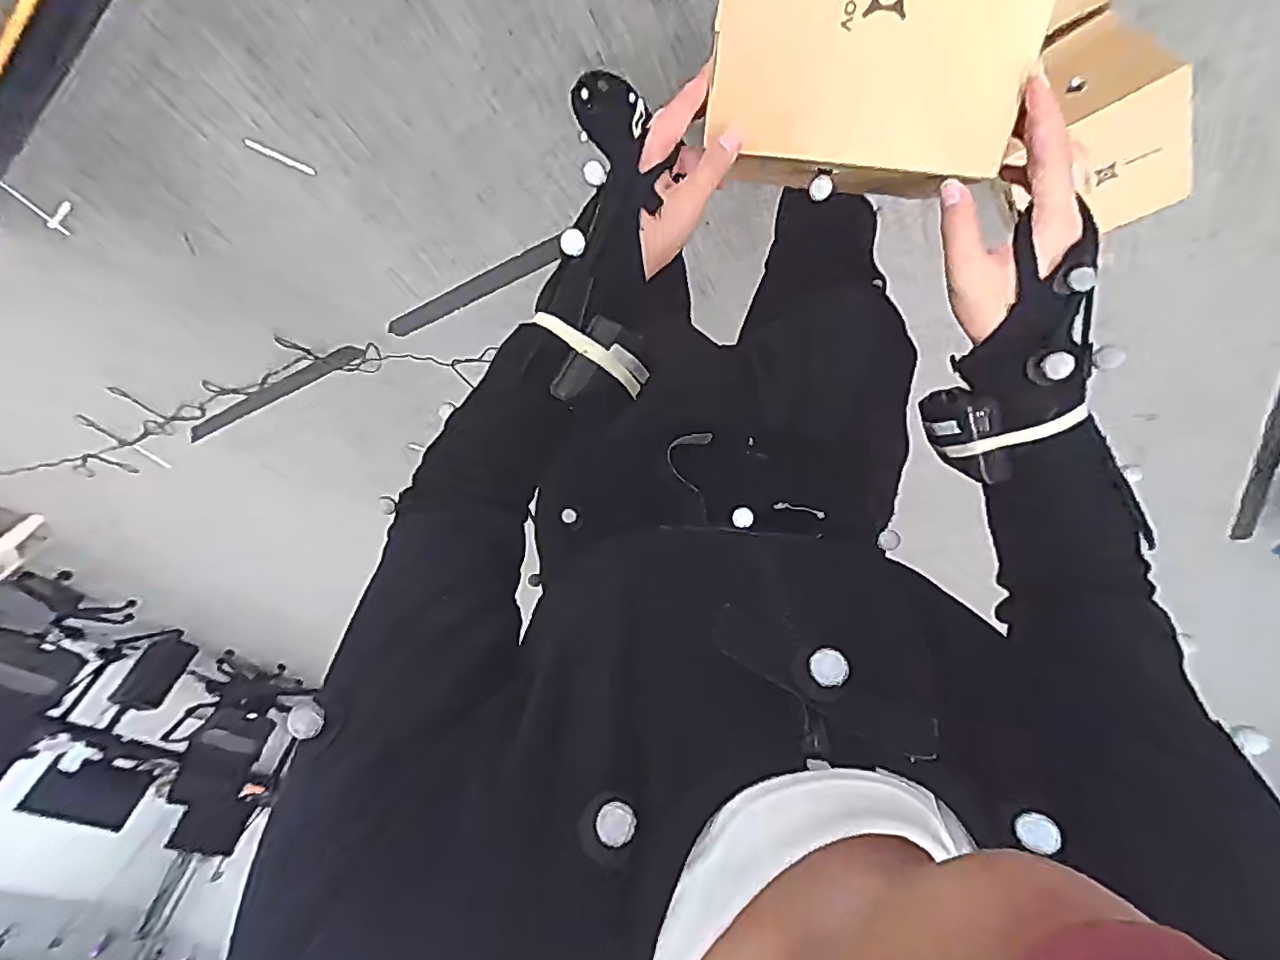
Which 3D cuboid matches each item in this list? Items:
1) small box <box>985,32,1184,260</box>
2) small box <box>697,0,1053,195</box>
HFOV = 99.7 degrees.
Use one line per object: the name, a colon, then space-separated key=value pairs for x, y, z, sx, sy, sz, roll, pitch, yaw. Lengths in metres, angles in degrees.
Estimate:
small box: x=0.570 y=-0.439 z=0.719 sx=0.179 sy=0.176 sz=0.168 roll=-19 pitch=133 yaw=31
small box: x=0.149 y=-0.295 z=0.362 sx=0.179 sy=0.176 sz=0.168 roll=13 pitch=115 yaw=11
